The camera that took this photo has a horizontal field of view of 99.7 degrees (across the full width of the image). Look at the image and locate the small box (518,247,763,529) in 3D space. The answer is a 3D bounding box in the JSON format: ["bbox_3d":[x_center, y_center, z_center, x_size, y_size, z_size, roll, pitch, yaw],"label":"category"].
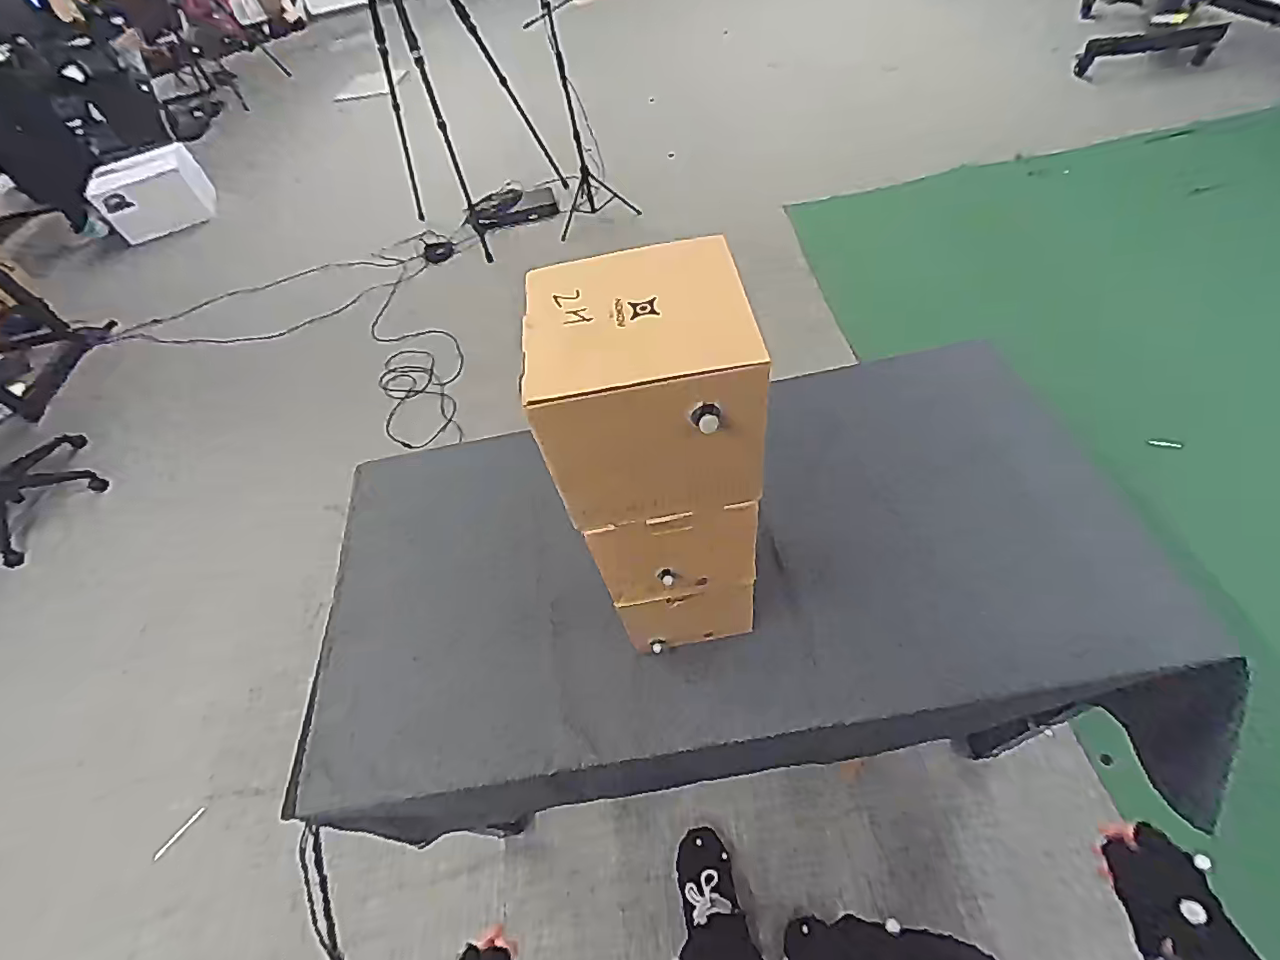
[{"bbox_3d":[0.003,-0.075,0.486,0.179,0.176,0.168,-10,52,3],"label":"small box"}]

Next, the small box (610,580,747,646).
[{"bbox_3d":[0.049,0.116,0.748,0.168,0.176,0.179,-12,52,2],"label":"small box"}]

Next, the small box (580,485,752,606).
[{"bbox_3d":[0.025,0.020,0.619,0.168,0.176,0.179,-11,53,2],"label":"small box"}]
